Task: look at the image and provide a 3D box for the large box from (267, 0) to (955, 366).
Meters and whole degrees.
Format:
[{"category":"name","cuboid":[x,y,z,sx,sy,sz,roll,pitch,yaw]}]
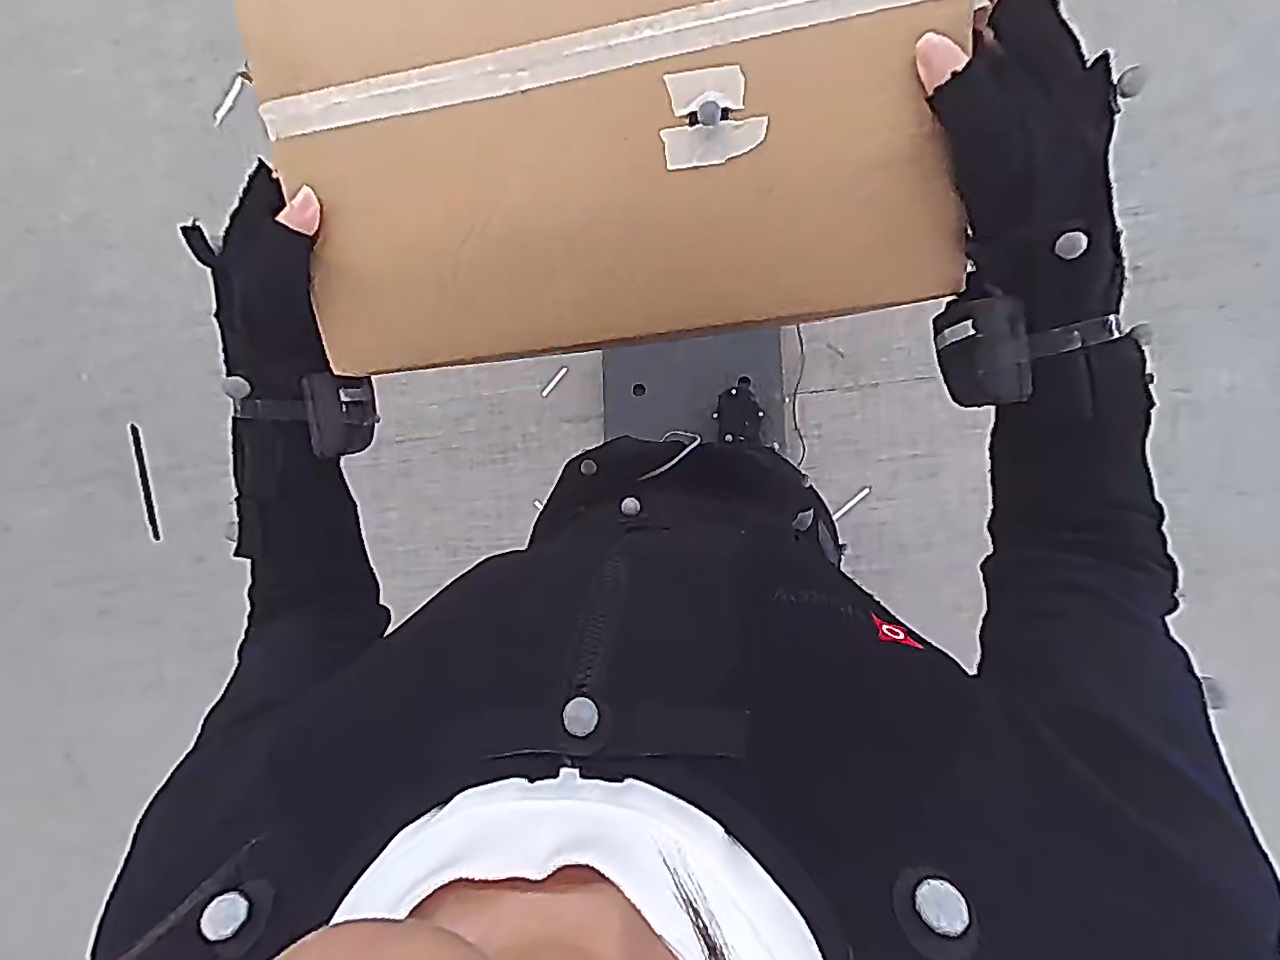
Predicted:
[{"category":"large box","cuboid":[-0.011,-0.287,0.465,0.408,0.320,0.320,-6,104,8]}]
